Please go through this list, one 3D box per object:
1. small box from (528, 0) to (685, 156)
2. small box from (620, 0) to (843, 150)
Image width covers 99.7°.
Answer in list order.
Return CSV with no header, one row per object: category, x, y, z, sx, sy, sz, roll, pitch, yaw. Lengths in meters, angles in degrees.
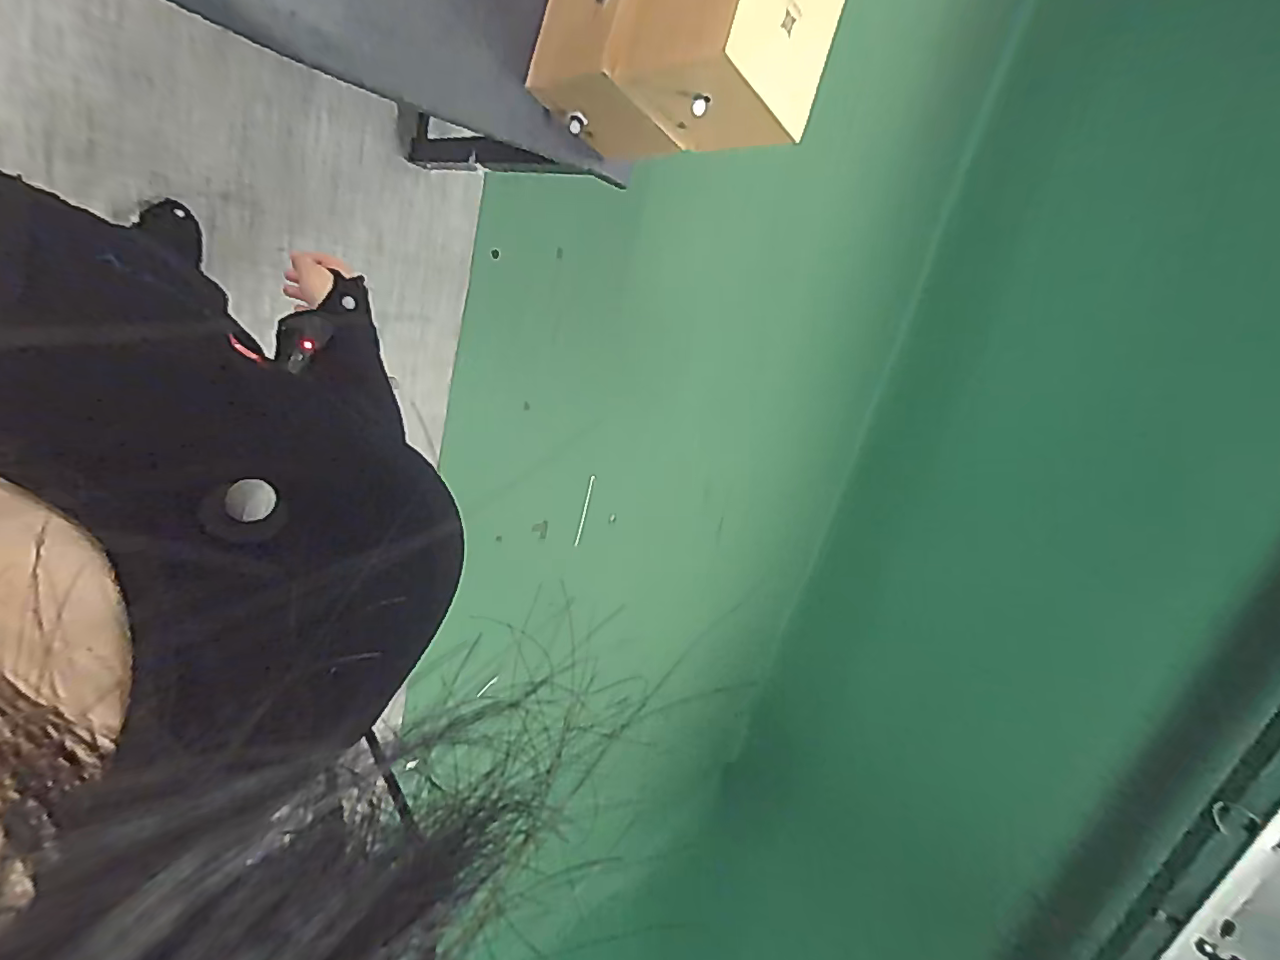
small box,-0.023,-0.563,0.716,0.168,0.176,0.179,11,101,-48
small box,0.099,-0.511,0.621,0.168,0.176,0.179,7,102,-48
